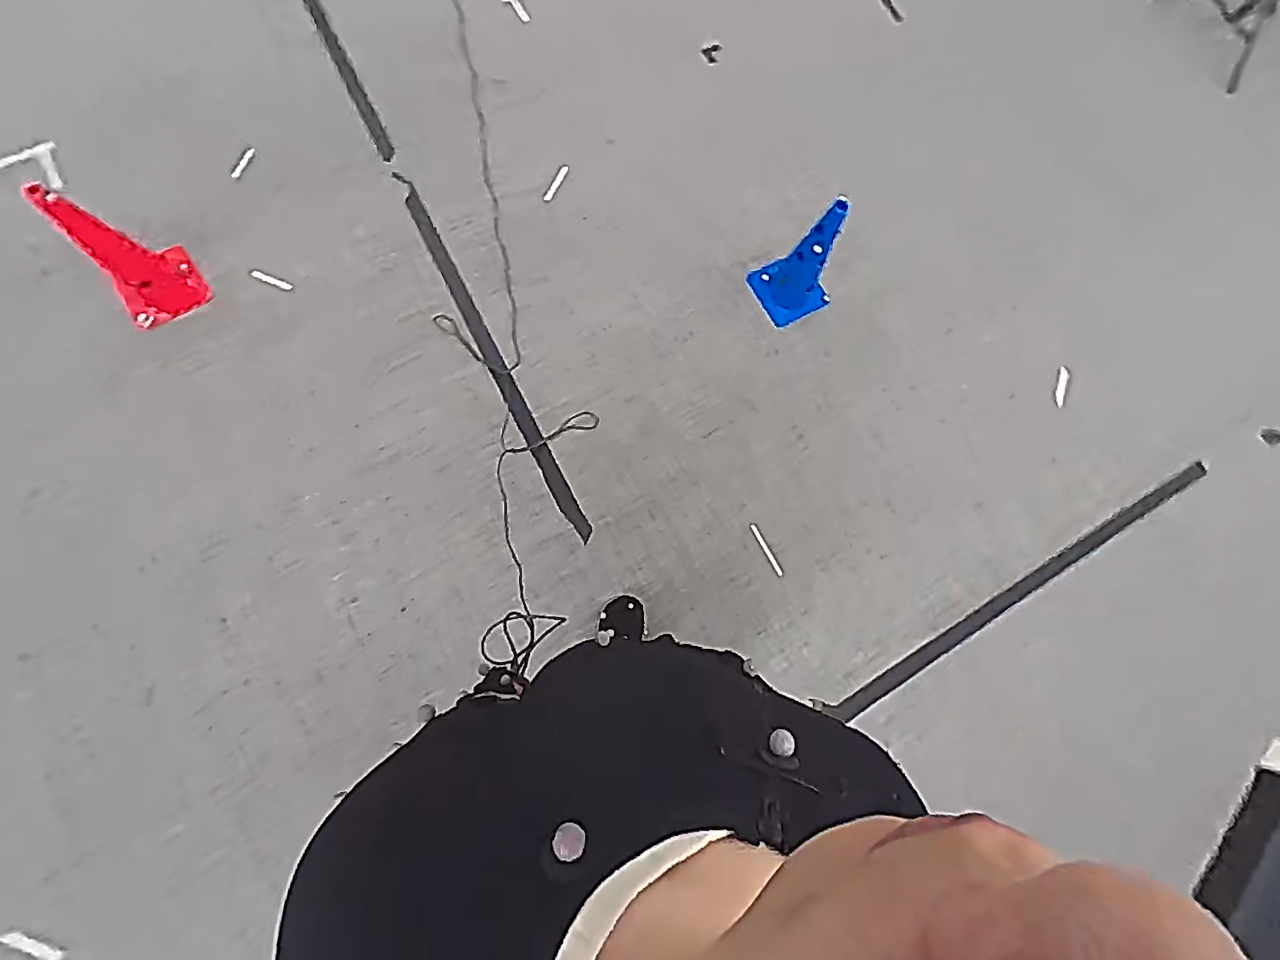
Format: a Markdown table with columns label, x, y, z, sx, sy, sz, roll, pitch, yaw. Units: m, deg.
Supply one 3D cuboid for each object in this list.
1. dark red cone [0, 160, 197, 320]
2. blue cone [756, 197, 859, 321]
| label | x | y | z | sx | sy | sz | roll | pitch | yaw |
| --- | --- | --- | --- | --- | --- | --- | --- | --- | --- |
| dark red cone | -1.271 | -0.568 | 1.256 | 0.201 | 0.394 | 0.202 | -35 | 82 | -13 |
| blue cone | 0.476 | -0.614 | 1.464 | 0.192 | 0.380 | 0.193 | -26 | 81 | -12 |
